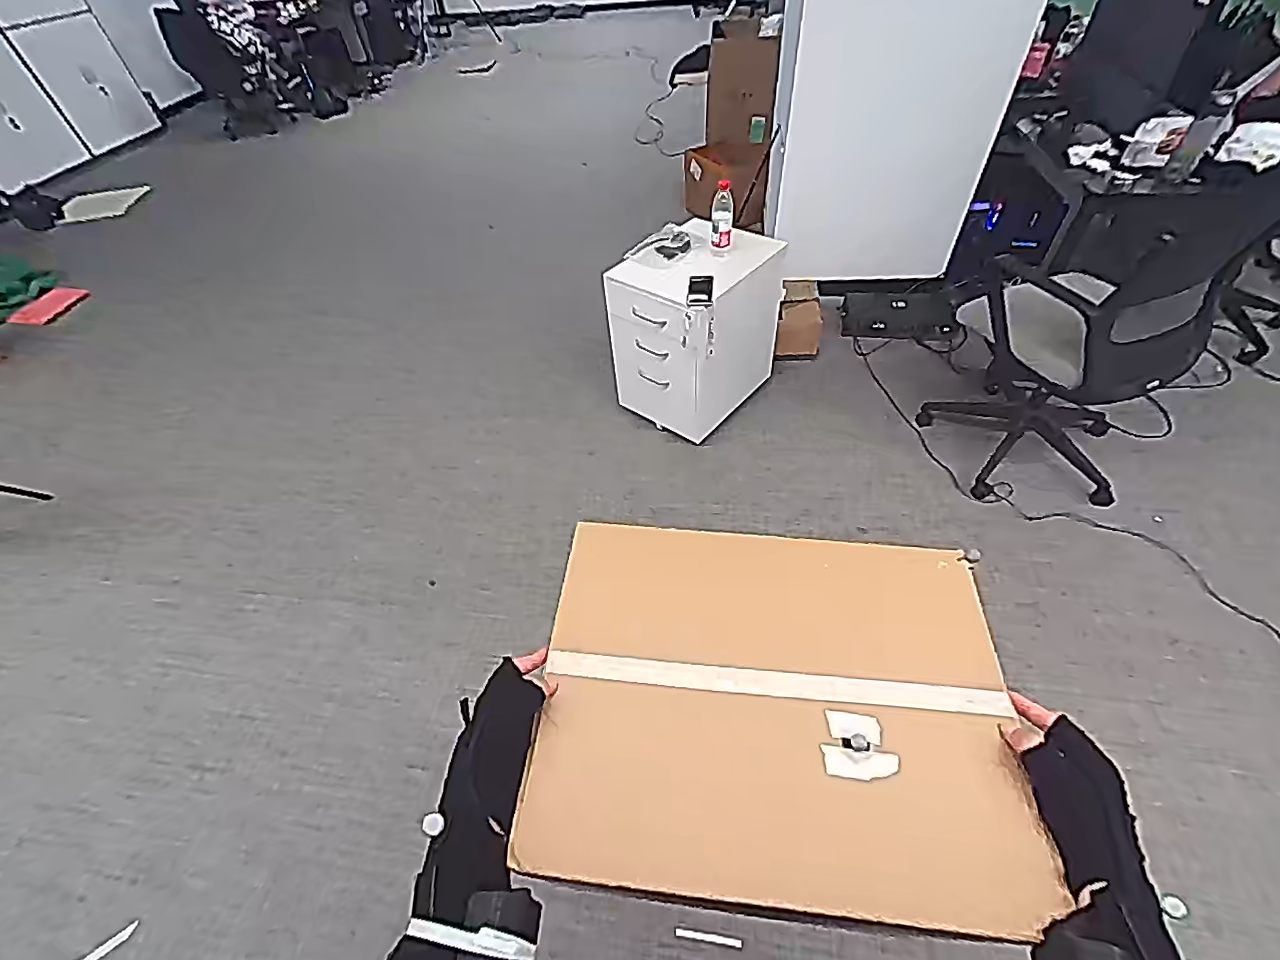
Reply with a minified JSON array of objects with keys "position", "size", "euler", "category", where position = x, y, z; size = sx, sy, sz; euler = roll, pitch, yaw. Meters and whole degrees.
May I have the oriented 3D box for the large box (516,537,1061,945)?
[{"position":[0.117,0.286,0.600],"size":[0.408,0.320,0.320],"euler":[4,52,5],"category":"large box"}]
